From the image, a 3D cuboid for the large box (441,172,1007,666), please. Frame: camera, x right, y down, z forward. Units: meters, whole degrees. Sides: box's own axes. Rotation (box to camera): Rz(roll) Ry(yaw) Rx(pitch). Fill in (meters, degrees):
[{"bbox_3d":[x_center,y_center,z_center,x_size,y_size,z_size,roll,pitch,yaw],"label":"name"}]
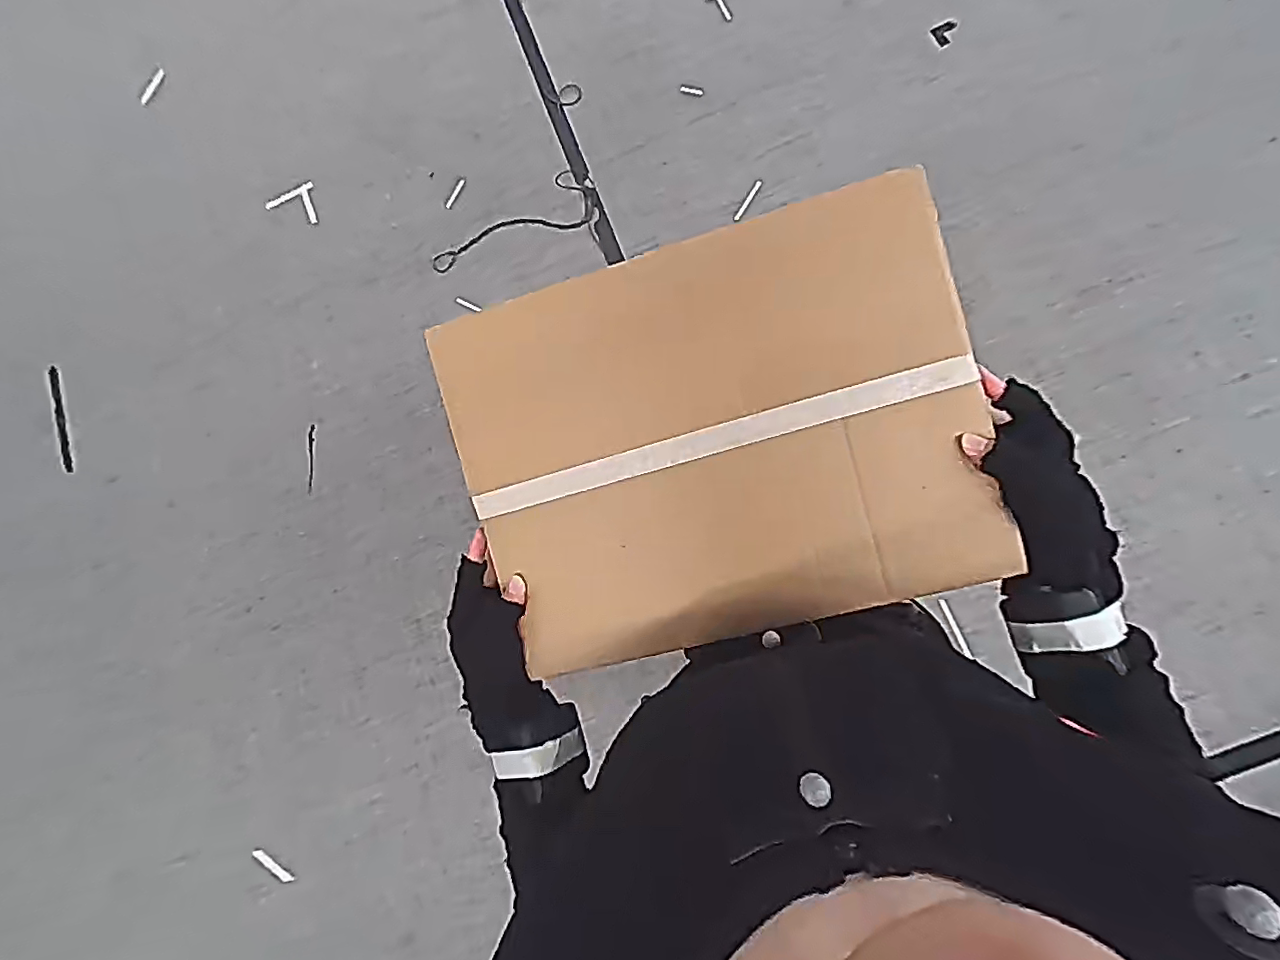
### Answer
[{"bbox_3d":[0.074,-0.043,0.587,0.408,0.320,0.320,-15,93,9],"label":"large box"}]
